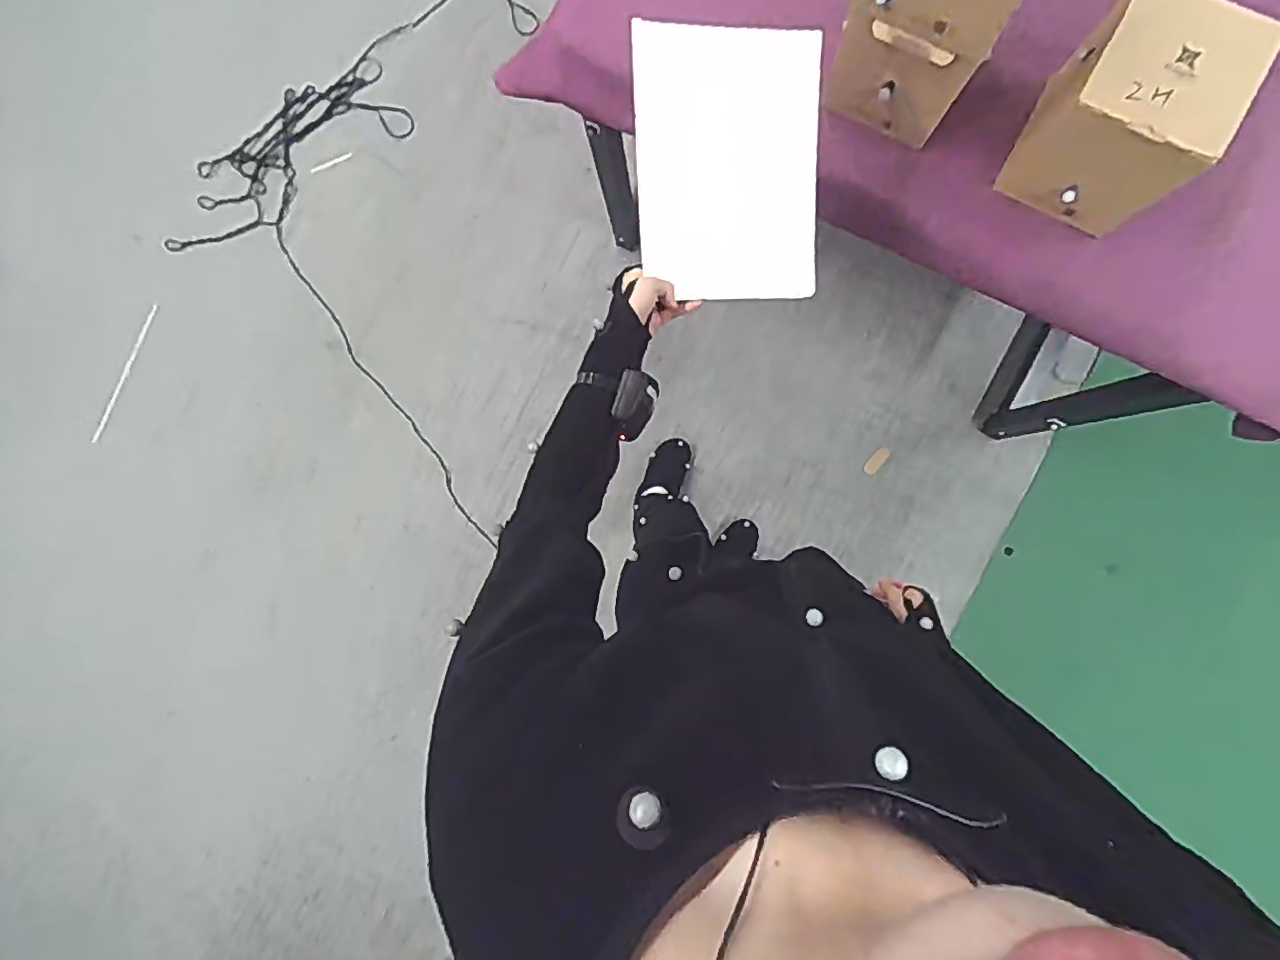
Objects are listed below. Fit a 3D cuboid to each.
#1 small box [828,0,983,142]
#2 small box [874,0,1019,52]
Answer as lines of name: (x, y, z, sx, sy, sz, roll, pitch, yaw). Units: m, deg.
small box: (0.368, -0.594, 0.707, 0.168, 0.176, 0.179, 29, 91, 5)
small box: (0.352, -0.594, 0.543, 0.168, 0.176, 0.179, 29, 90, 5)
